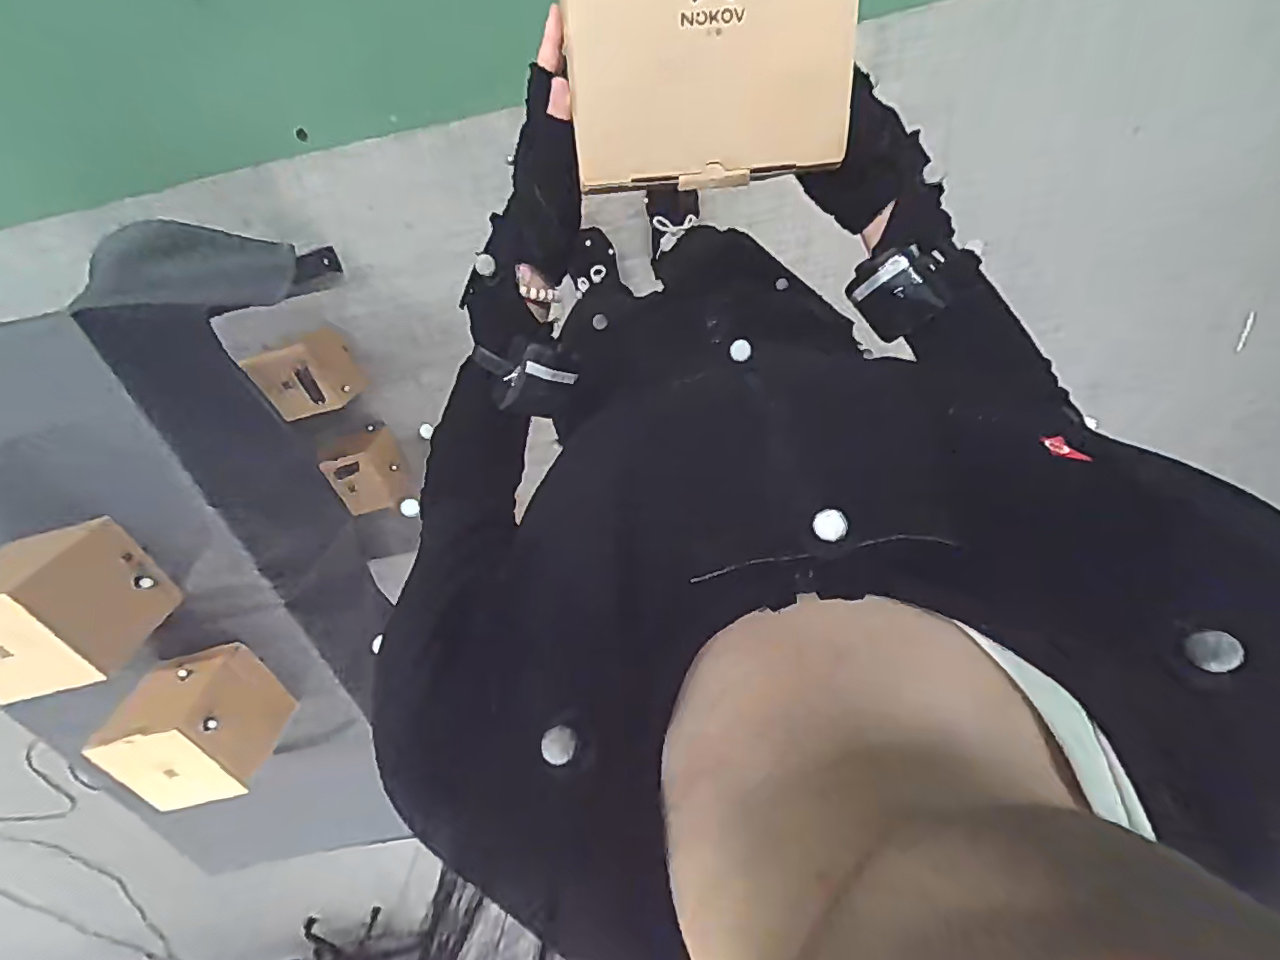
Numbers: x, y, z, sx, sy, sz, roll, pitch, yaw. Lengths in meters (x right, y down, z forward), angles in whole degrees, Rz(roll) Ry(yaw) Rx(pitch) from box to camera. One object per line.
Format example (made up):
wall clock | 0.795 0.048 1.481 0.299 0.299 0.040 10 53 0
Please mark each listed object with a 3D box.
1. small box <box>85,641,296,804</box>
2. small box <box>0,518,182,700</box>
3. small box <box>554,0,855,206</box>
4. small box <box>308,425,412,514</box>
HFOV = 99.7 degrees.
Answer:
small box | -0.729 0.403 0.906 0.168 0.176 0.179 -15 120 6
small box | -0.823 0.177 0.764 0.179 0.176 0.168 -13 122 5
small box | 0.031 -0.293 0.363 0.168 0.176 0.179 -7 119 -2
small box | -0.760 -0.037 1.486 0.168 0.176 0.179 -13 122 5
